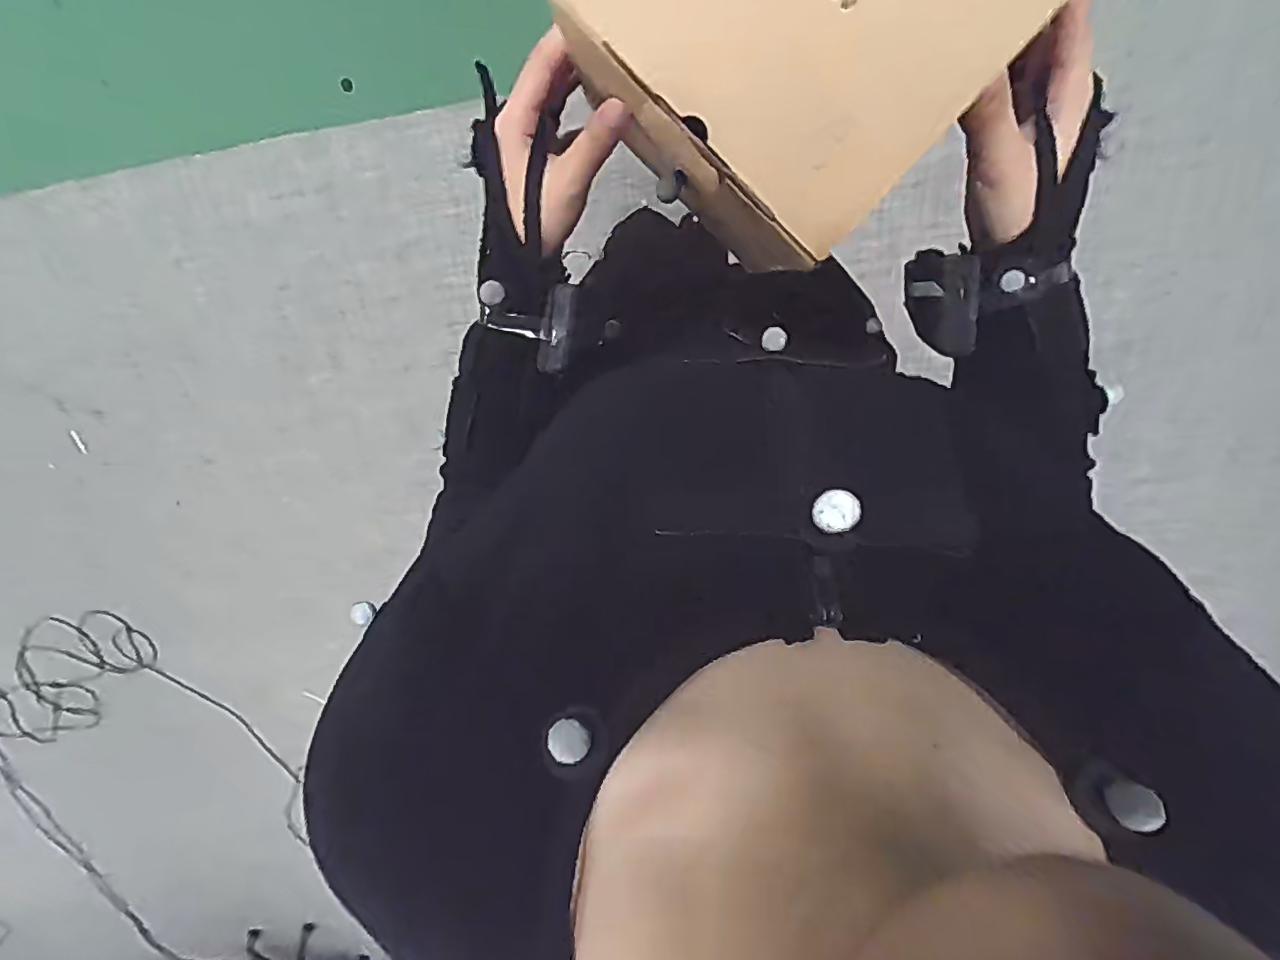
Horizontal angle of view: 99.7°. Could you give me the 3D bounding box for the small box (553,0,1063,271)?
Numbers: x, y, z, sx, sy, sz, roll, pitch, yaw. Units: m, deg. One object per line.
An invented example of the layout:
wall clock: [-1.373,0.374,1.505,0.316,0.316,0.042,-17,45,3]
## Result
small box: [0.081,-0.239,0.301,0.168,0.176,0.179,40,107,-12]
